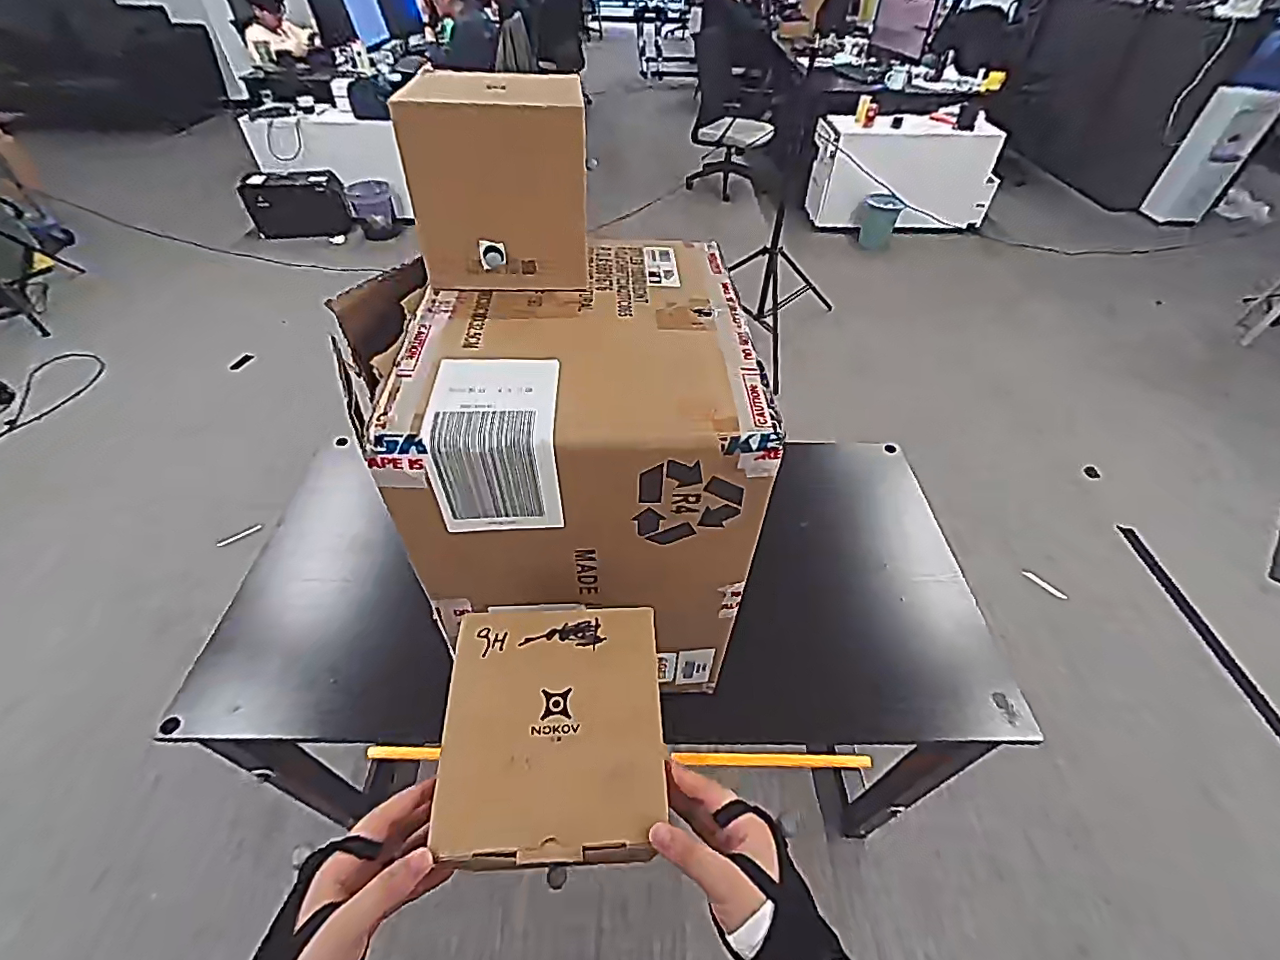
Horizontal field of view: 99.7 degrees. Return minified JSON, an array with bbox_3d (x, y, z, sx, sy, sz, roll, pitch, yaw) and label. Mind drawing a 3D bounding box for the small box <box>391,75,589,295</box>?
[{"bbox_3d":[-0.142,-0.314,0.579,0.168,0.176,0.179,-4,45,-6],"label":"small box"}]
